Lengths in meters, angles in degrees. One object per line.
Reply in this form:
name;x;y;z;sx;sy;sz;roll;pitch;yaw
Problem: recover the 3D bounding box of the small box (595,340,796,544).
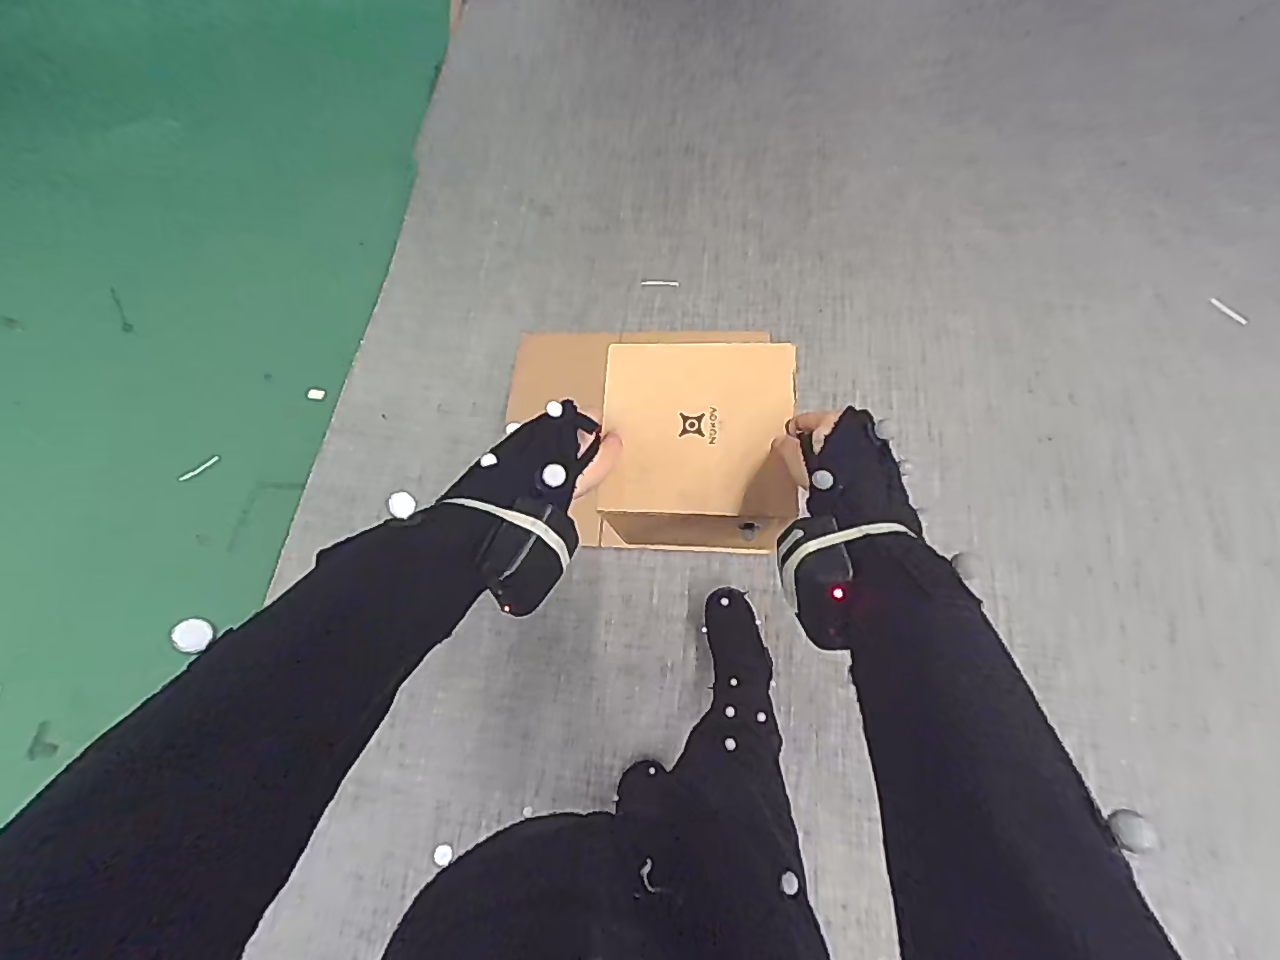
small box;0.060;-0.029;0.562;0.179;0.176;0.168;1;74;7
